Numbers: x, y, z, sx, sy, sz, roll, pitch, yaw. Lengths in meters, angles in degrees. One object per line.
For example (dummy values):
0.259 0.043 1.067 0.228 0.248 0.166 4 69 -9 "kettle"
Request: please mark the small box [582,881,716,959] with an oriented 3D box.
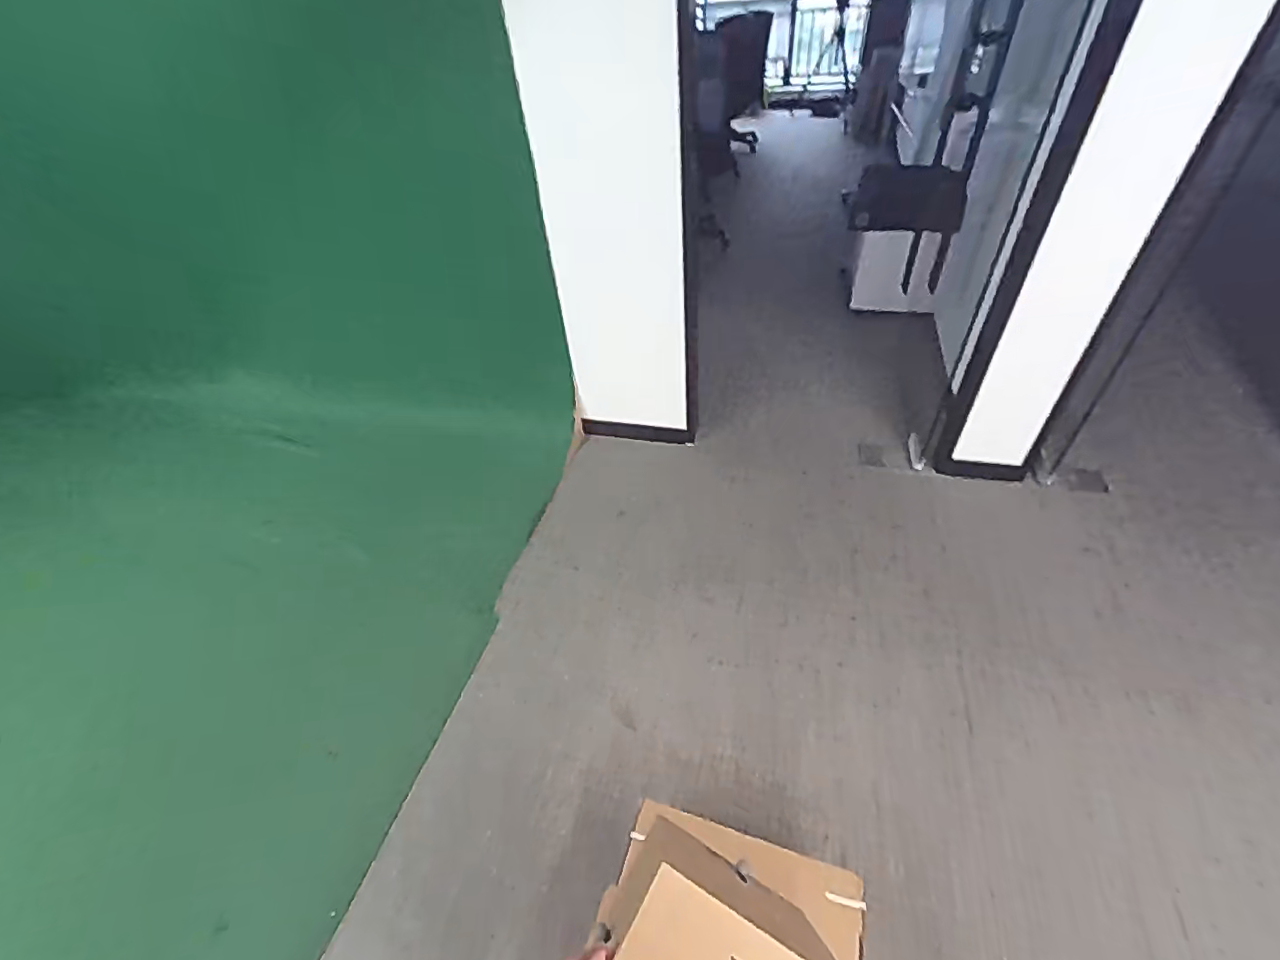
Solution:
0.004 0.730 0.776 0.168 0.176 0.179 12 44 20 "small box"
